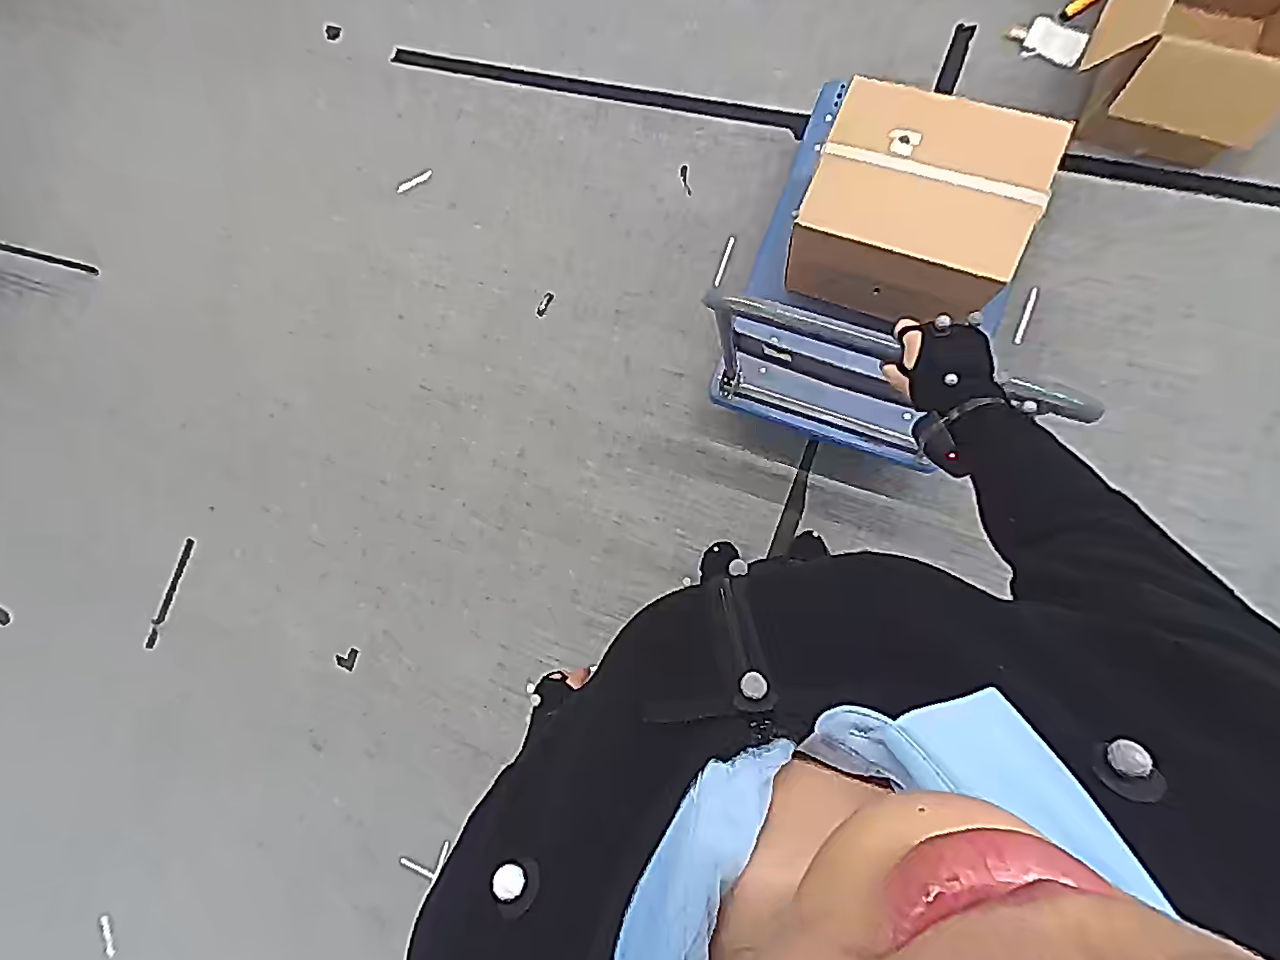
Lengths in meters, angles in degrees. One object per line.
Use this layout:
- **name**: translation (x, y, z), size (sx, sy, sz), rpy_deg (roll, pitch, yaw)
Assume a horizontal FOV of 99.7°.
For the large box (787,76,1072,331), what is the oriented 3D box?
- **large box**: translation (0.564, -0.558, 1.142), size (0.408, 0.320, 0.320), rpy_deg (22, 89, 13)
